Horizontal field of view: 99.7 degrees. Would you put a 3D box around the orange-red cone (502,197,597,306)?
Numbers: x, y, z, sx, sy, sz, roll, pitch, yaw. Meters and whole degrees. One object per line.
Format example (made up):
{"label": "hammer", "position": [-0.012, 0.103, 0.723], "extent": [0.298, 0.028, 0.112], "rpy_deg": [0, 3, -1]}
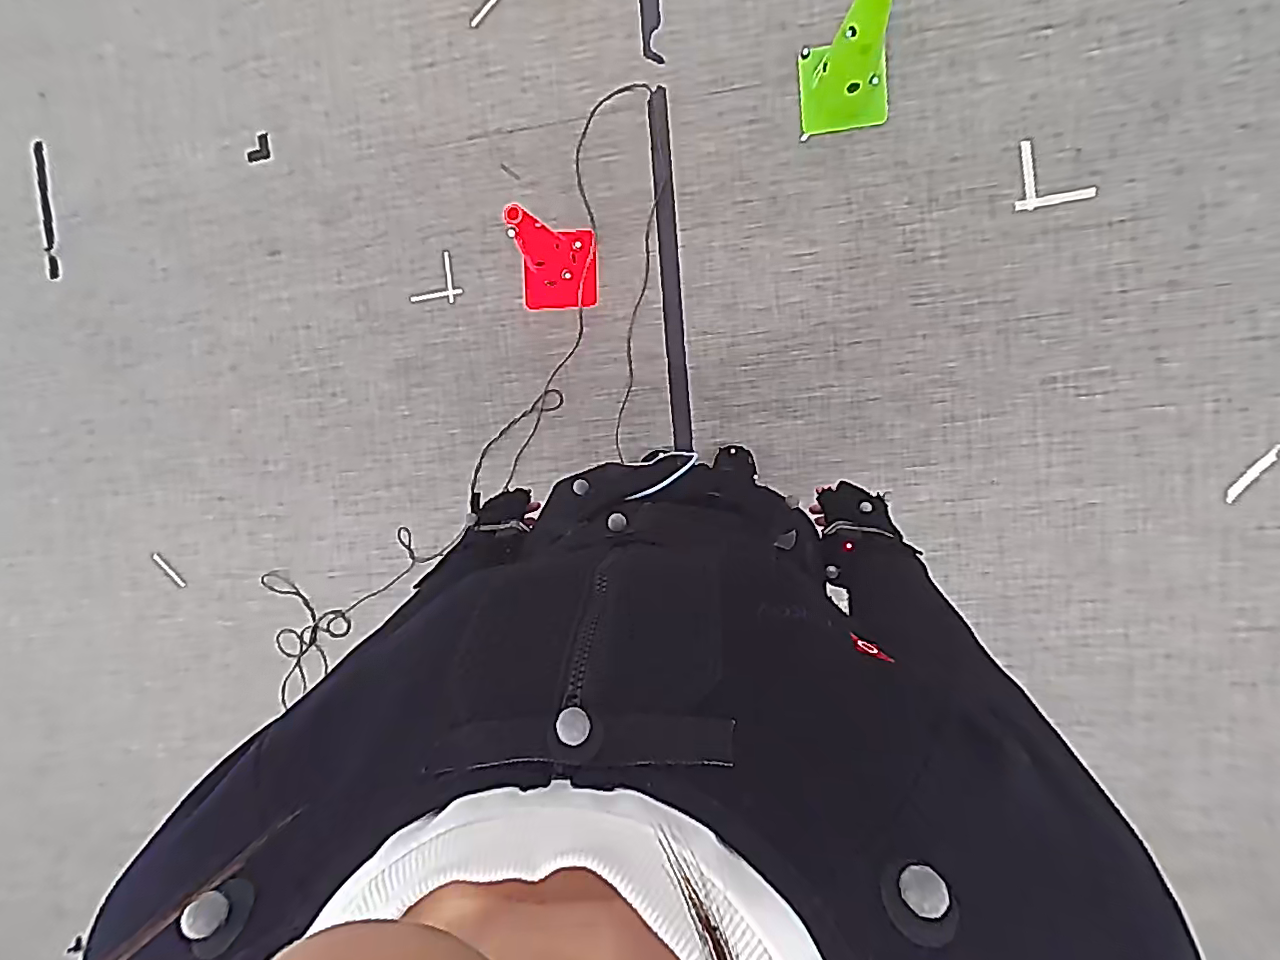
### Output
{"label": "orange-red cone", "position": [-0.235, -0.551, 1.250], "extent": [0.199, 0.360, 0.198], "rpy_deg": [0, 93, 9]}

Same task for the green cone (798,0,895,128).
{"label": "green cone", "position": [0.468, -0.943, 1.126], "extent": [0.202, 0.368, 0.200], "rpy_deg": [-4, 93, 7]}
